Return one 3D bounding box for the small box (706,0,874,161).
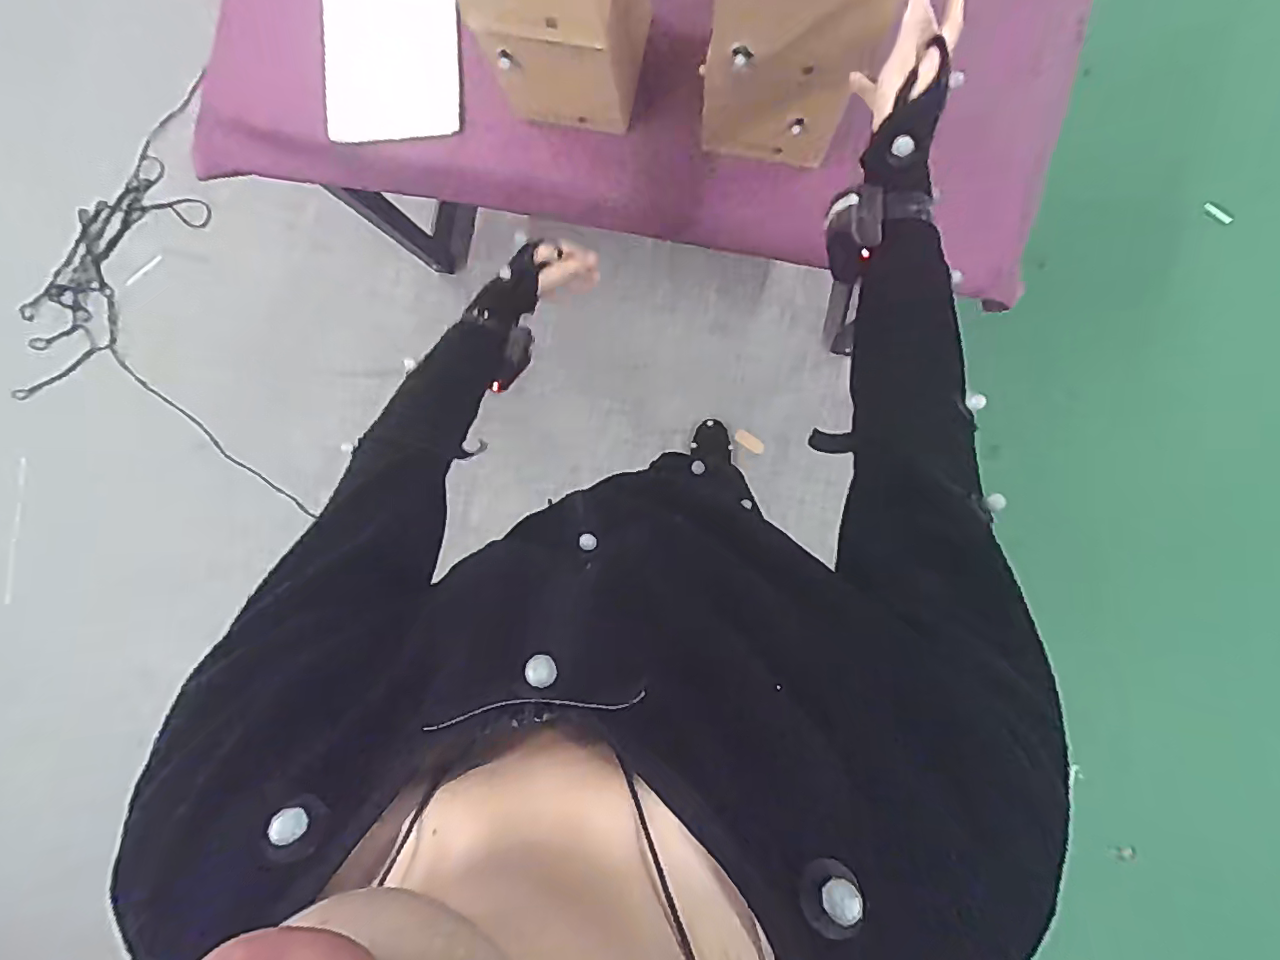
[{"bbox_3d":[0.179,-0.532,0.667,0.168,0.176,0.179,13,91,4],"label":"small box"}]

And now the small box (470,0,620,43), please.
[{"bbox_3d":[-0.100,-0.580,0.526,0.168,0.176,0.179,13,91,5],"label":"small box"}]
